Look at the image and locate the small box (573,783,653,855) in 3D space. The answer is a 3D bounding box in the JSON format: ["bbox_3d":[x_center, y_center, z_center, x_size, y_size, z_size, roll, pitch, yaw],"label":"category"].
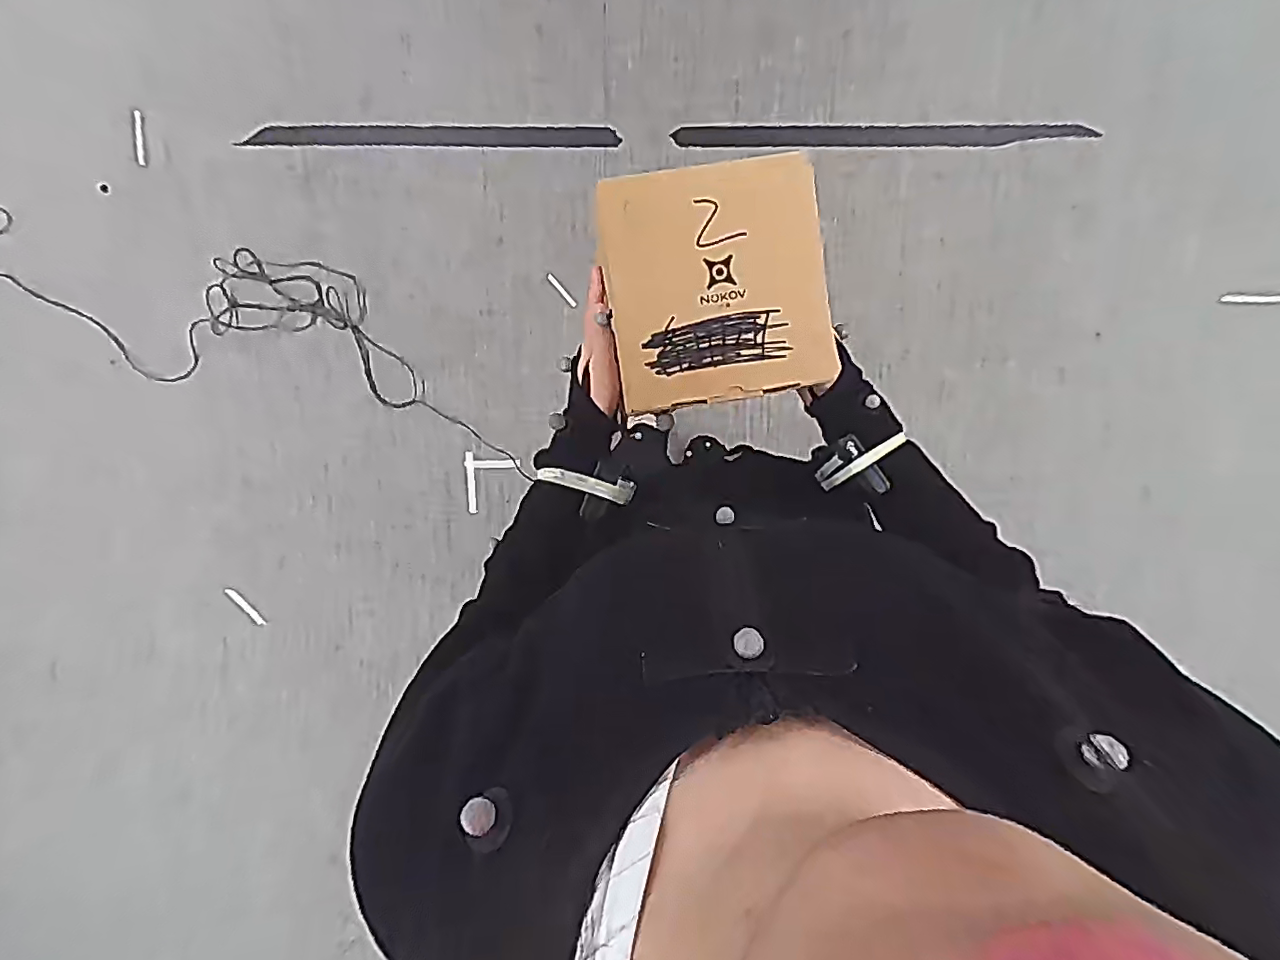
[{"bbox_3d":[-0.058,0.797,1.185,0.168,0.176,0.179,2,96,2],"label":"small box"}]

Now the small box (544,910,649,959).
[{"bbox_3d":[-0.070,0.838,0.861,0.168,0.176,0.179,0,96,1],"label":"small box"}]

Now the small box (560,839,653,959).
[{"bbox_3d":[-0.061,0.819,1.022,0.168,0.176,0.179,2,98,2],"label":"small box"}]

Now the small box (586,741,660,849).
[{"bbox_3d":[-0.043,0.775,1.346,0.179,0.176,0.168,3,96,2],"label":"small box"}]
